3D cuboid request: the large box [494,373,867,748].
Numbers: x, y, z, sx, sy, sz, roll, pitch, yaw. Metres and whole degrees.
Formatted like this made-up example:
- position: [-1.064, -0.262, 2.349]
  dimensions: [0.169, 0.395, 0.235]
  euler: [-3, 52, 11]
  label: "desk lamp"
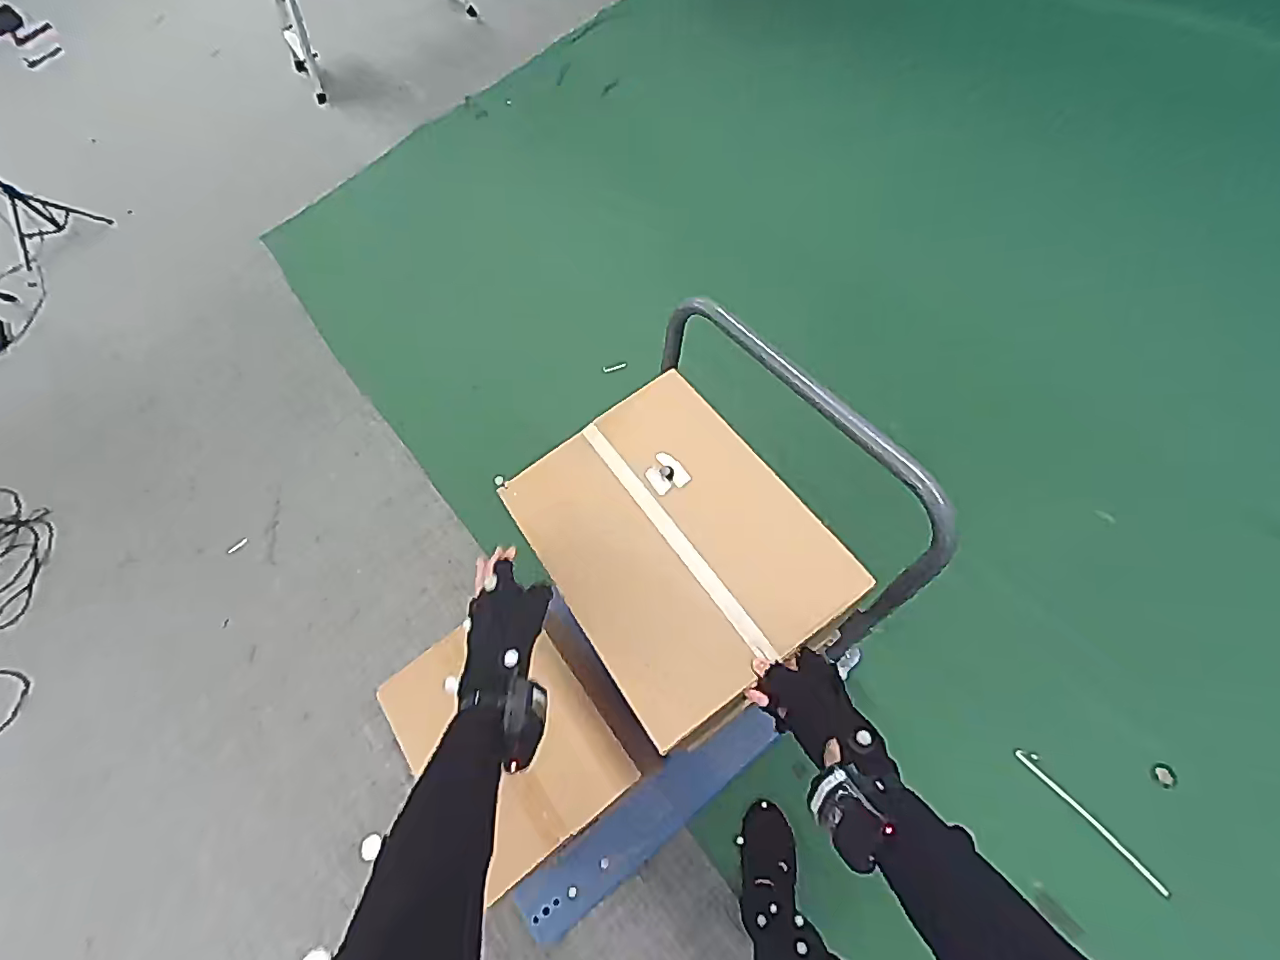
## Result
- position: [0.056, 0.129, 0.816]
  dimensions: [0.320, 0.320, 0.408]
  euler: [-35, 63, -7]
  label: "large box"
